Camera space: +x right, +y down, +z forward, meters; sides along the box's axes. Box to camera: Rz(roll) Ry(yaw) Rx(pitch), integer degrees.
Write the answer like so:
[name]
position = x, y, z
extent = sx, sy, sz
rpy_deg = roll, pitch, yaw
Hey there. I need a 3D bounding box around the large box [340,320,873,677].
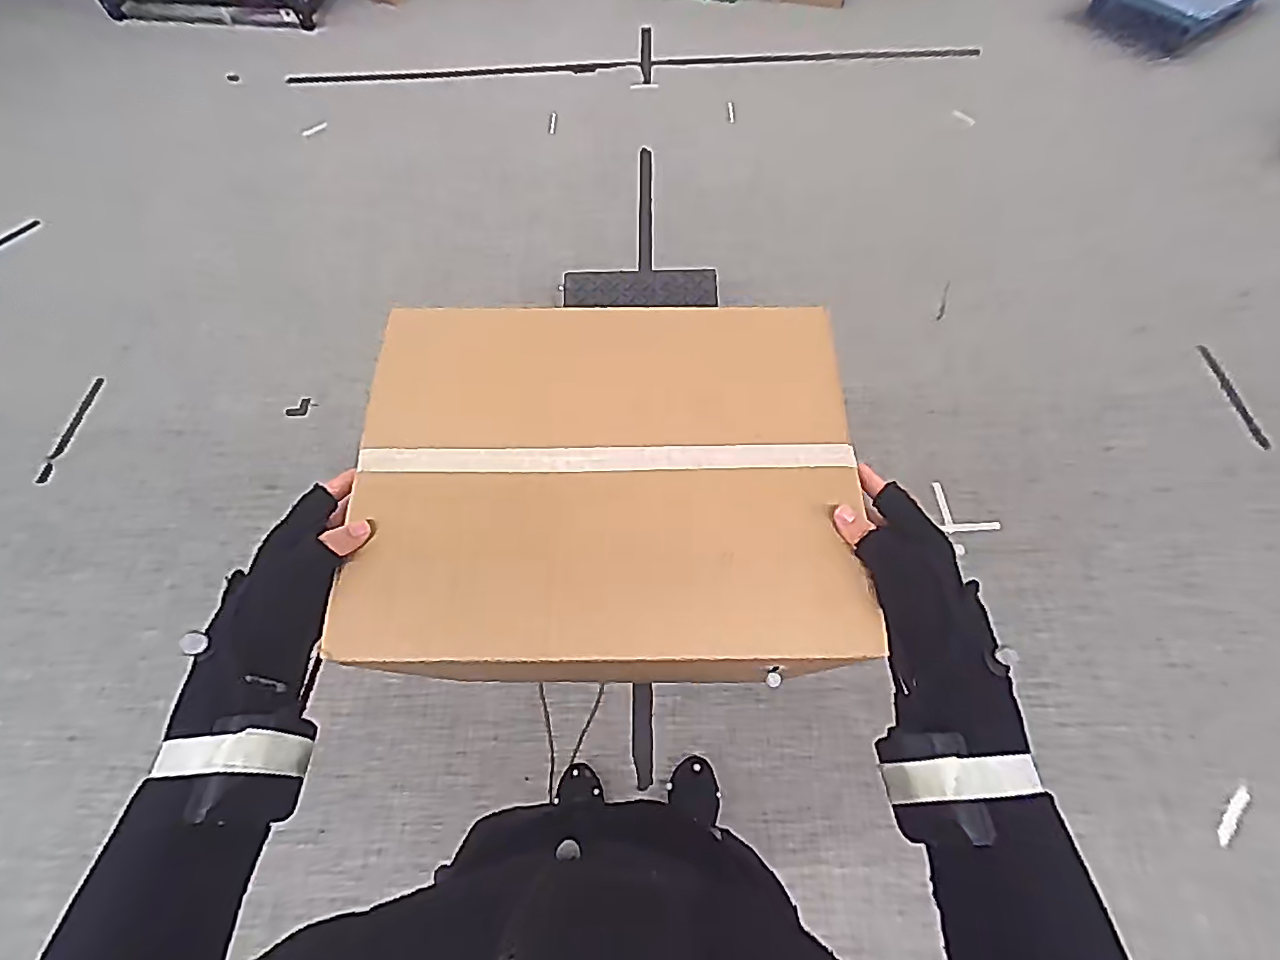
[large box]
position = -0.025, 0.047, 0.591
extent = 0.408, 0.320, 0.320
rpy_deg = 0, 67, -1
